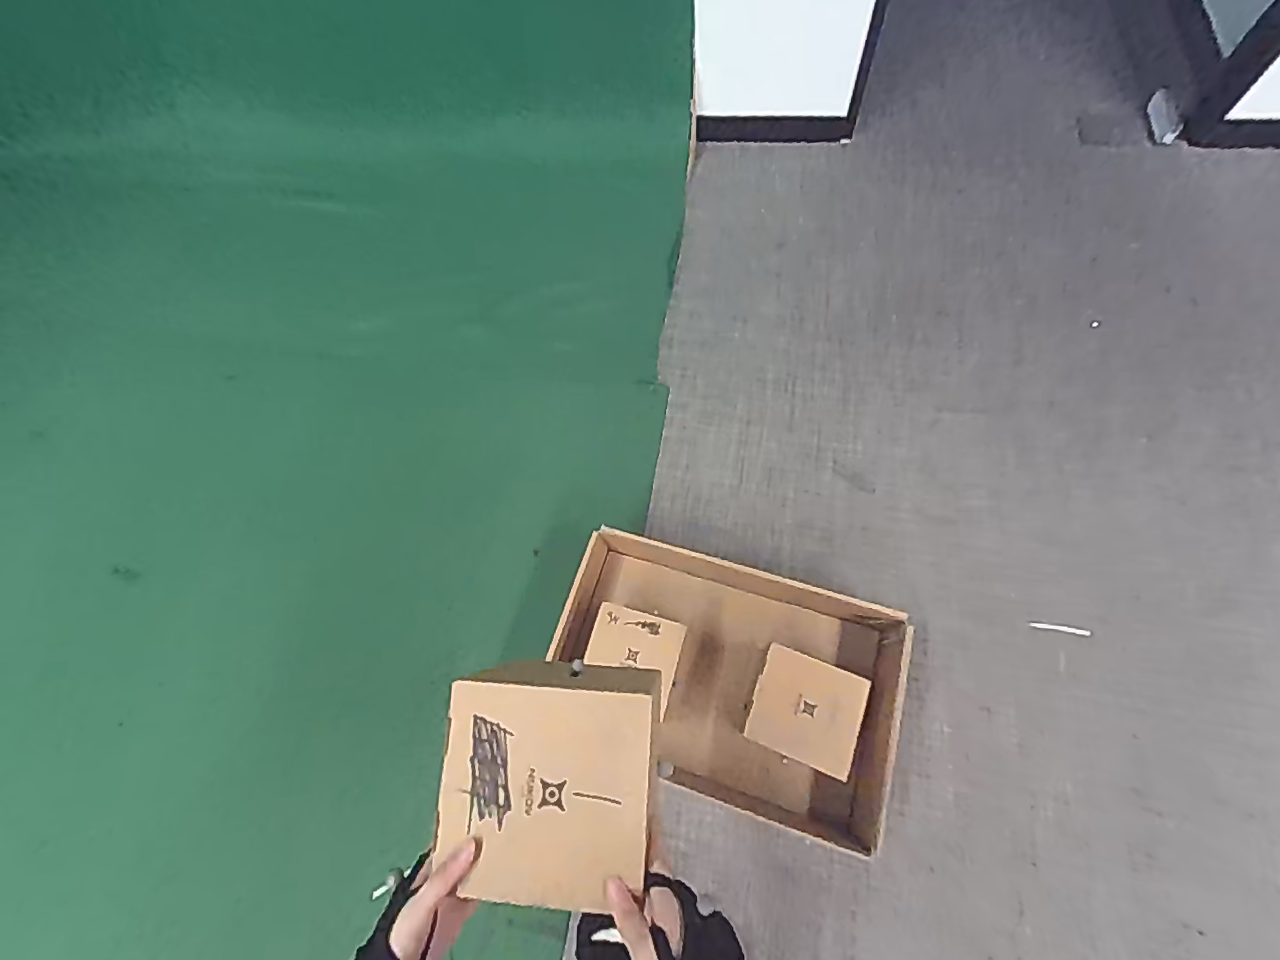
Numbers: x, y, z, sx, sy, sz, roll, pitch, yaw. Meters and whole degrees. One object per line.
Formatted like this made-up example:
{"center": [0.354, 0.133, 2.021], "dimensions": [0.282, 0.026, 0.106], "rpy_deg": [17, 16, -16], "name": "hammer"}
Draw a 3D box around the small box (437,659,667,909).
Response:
{"center": [-0.069, 0.273, 0.530], "dimensions": [0.179, 0.176, 0.168], "rpy_deg": [3, 78, 5], "name": "small box"}
